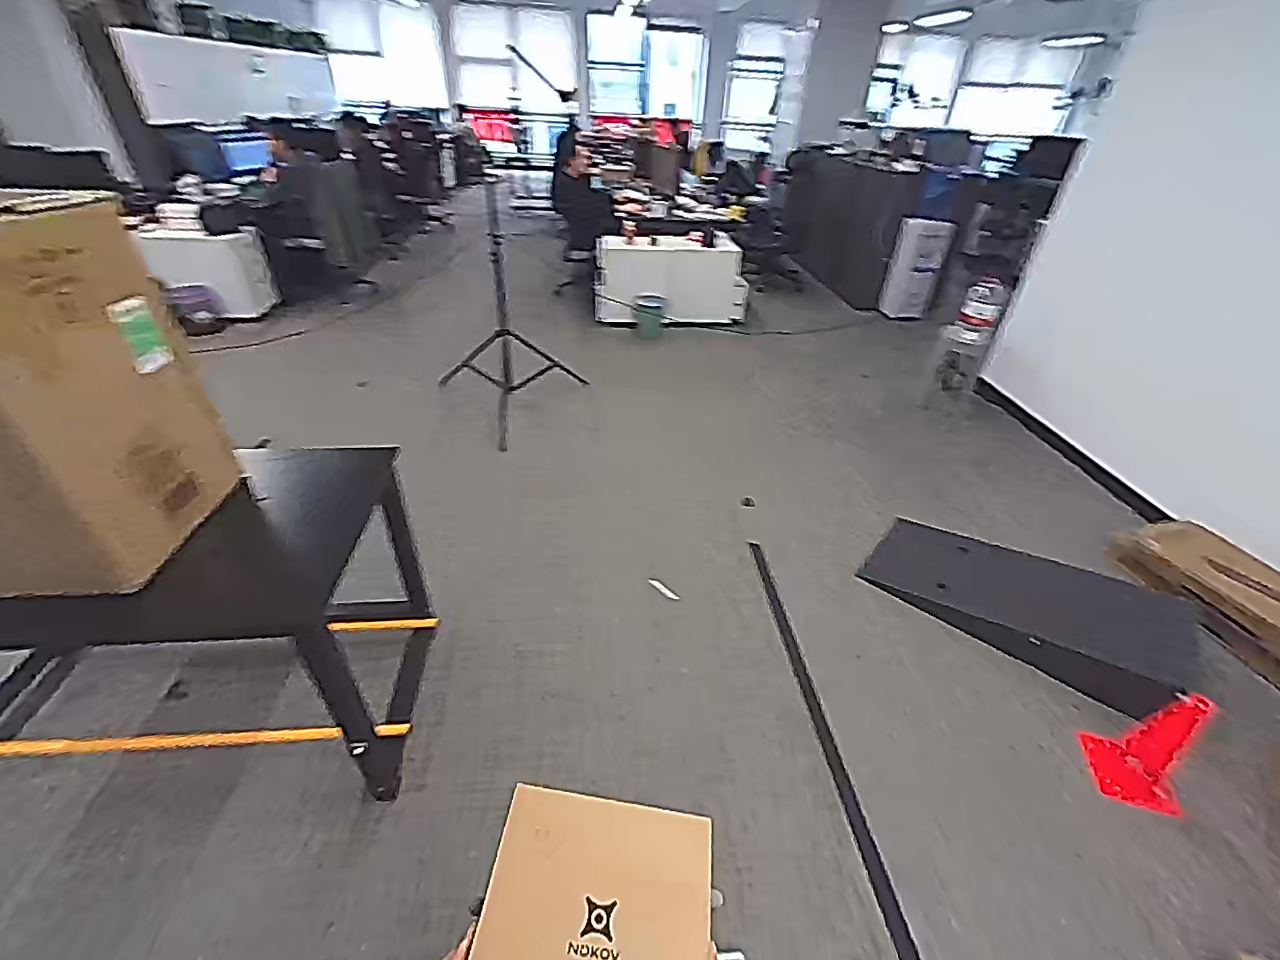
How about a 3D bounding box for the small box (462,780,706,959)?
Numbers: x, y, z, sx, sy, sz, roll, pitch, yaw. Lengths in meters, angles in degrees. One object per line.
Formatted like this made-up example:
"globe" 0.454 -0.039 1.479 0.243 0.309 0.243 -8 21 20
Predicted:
"small box" -0.045 0.377 0.430 0.168 0.176 0.179 9 39 1
